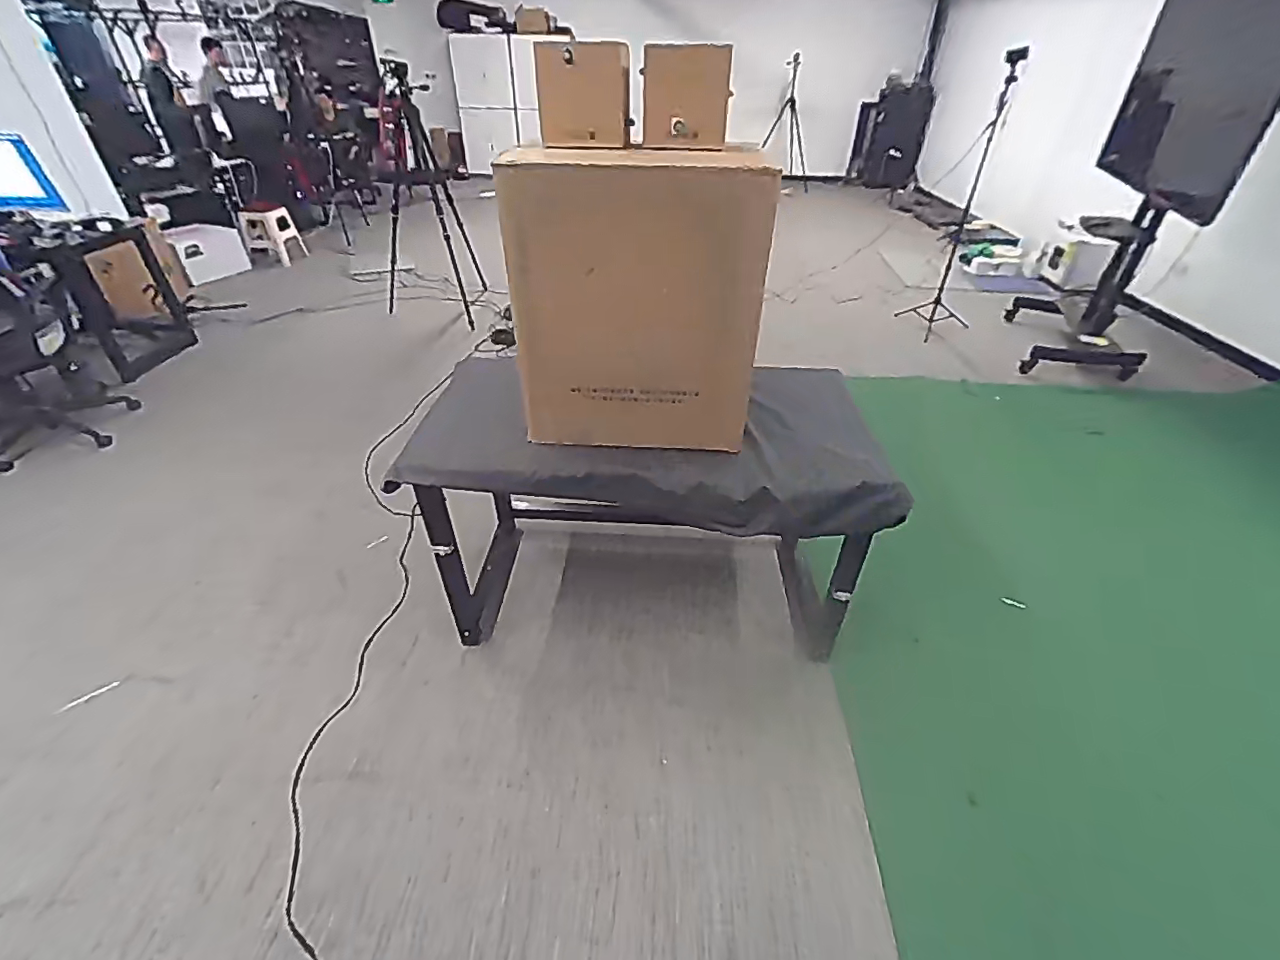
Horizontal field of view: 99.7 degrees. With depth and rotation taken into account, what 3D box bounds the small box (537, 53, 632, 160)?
[{"bbox_3d":[-0.106,-0.766,1.113,0.168,0.176,0.179,2,35,4],"label":"small box"}]
